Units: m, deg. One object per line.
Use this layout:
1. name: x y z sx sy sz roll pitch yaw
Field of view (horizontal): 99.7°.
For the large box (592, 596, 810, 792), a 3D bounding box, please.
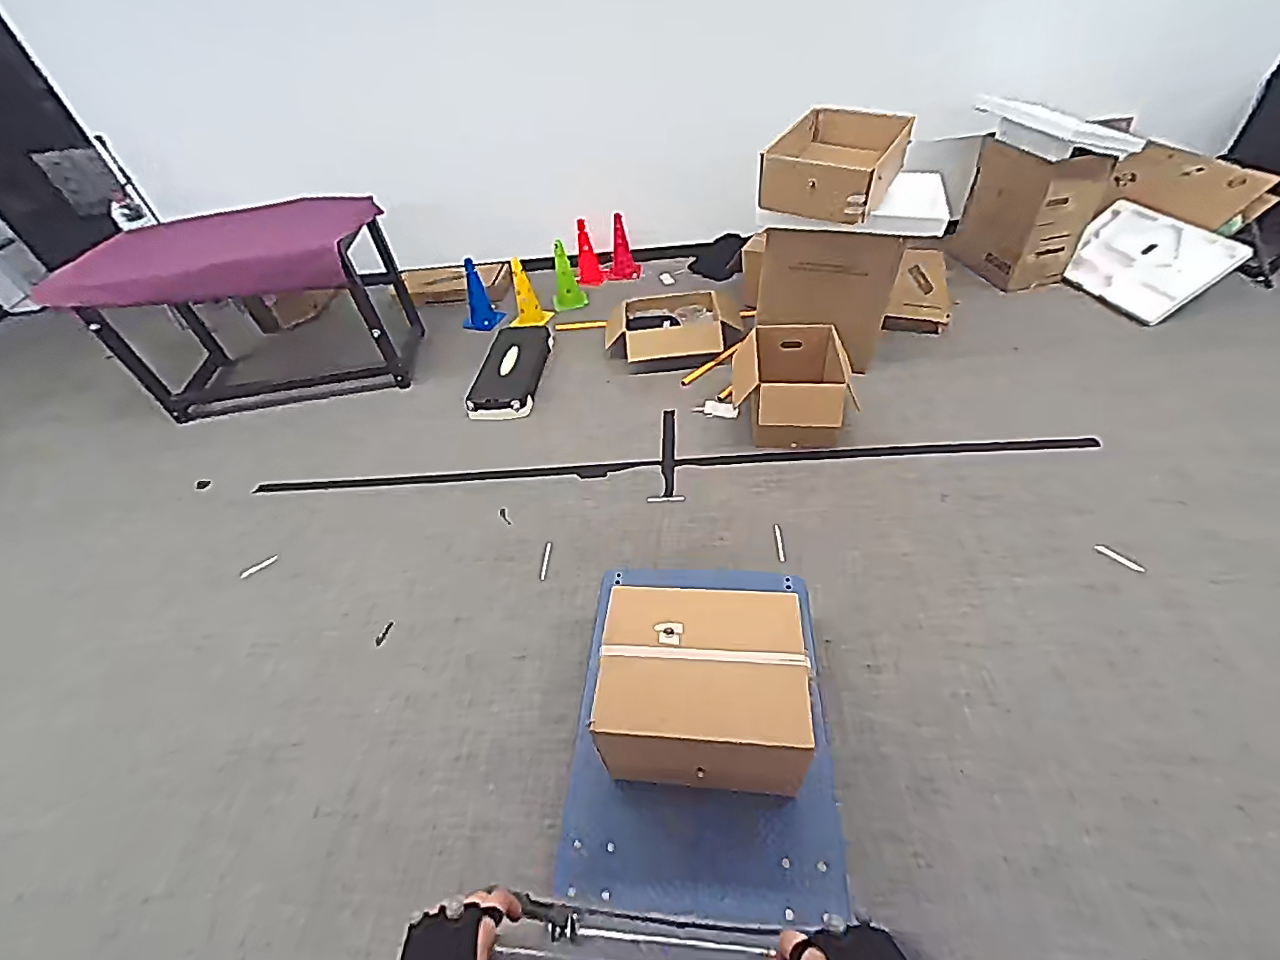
1. large box: 0.137 0.470 1.190 0.408 0.320 0.320 -1 45 9
